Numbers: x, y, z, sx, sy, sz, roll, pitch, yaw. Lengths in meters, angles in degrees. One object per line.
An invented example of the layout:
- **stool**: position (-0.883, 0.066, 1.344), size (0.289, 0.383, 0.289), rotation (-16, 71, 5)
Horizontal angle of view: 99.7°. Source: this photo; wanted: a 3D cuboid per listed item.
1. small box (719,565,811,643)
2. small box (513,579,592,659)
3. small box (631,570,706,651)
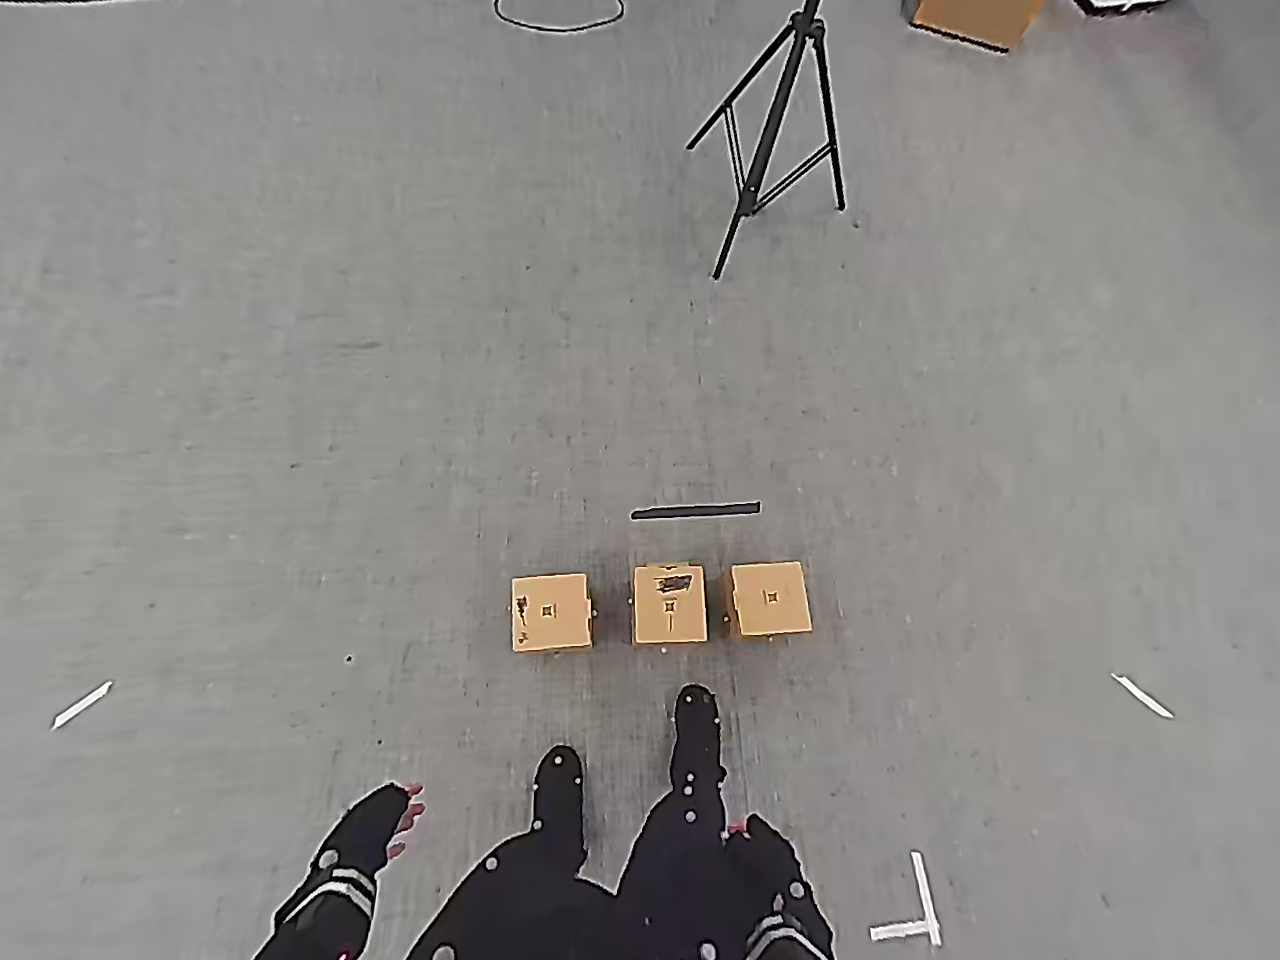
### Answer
- **small box**: position (0.302, 0.314, 1.353), size (0.179, 0.176, 0.168), rotation (-3, 71, -6)
- **small box**: position (-0.209, 0.339, 1.310), size (0.179, 0.176, 0.168), rotation (-3, 69, -6)
- **small box**: position (0.064, 0.325, 1.331), size (0.168, 0.176, 0.179), rotation (0, 70, -3)
